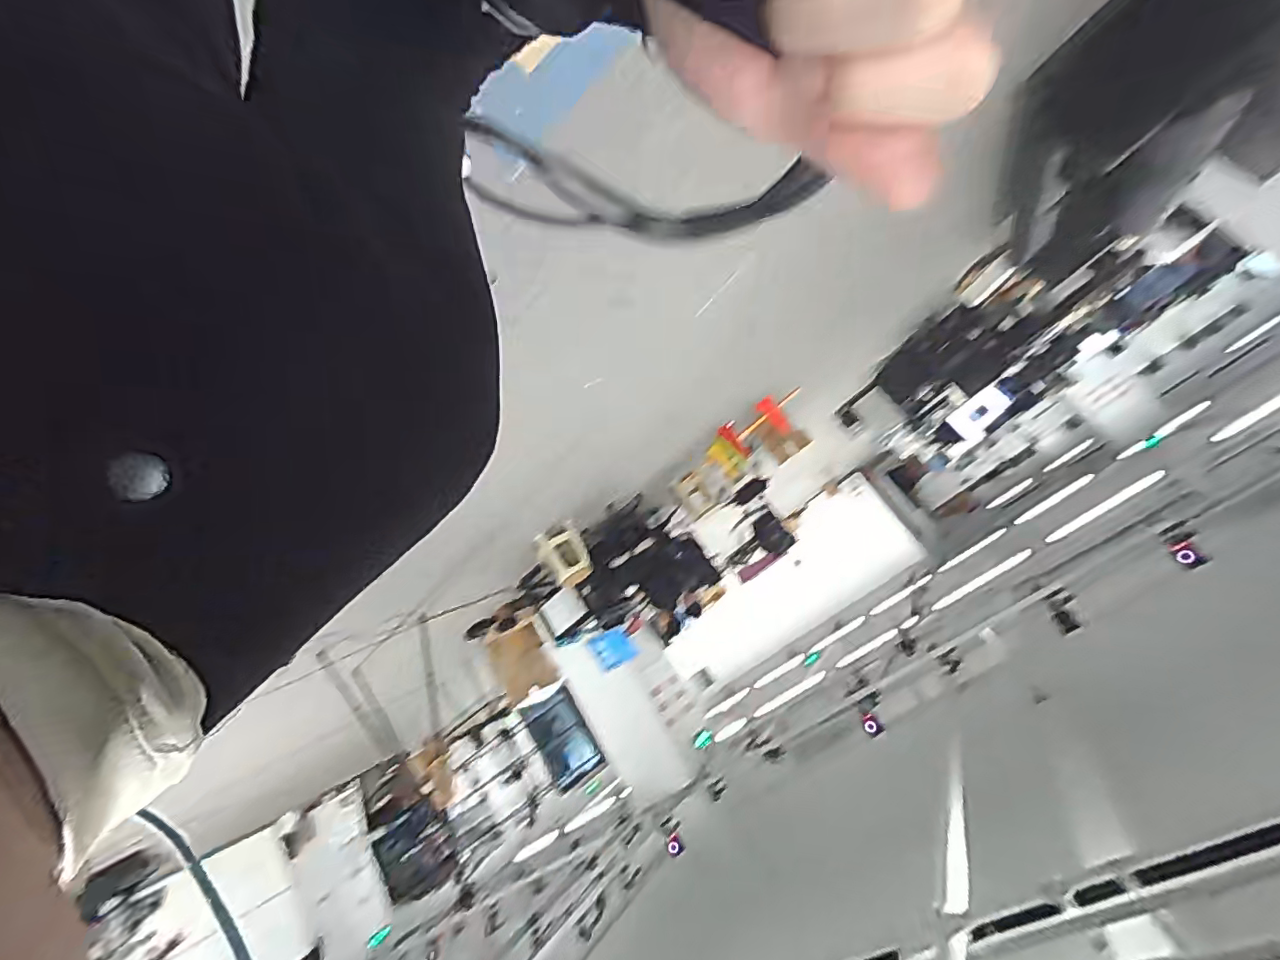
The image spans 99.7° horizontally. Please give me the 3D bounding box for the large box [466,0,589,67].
[{"bbox_3d":[-0.263,-1.021,0.870,0.320,0.320,0.408,-40,162,15],"label":"large box"}]
